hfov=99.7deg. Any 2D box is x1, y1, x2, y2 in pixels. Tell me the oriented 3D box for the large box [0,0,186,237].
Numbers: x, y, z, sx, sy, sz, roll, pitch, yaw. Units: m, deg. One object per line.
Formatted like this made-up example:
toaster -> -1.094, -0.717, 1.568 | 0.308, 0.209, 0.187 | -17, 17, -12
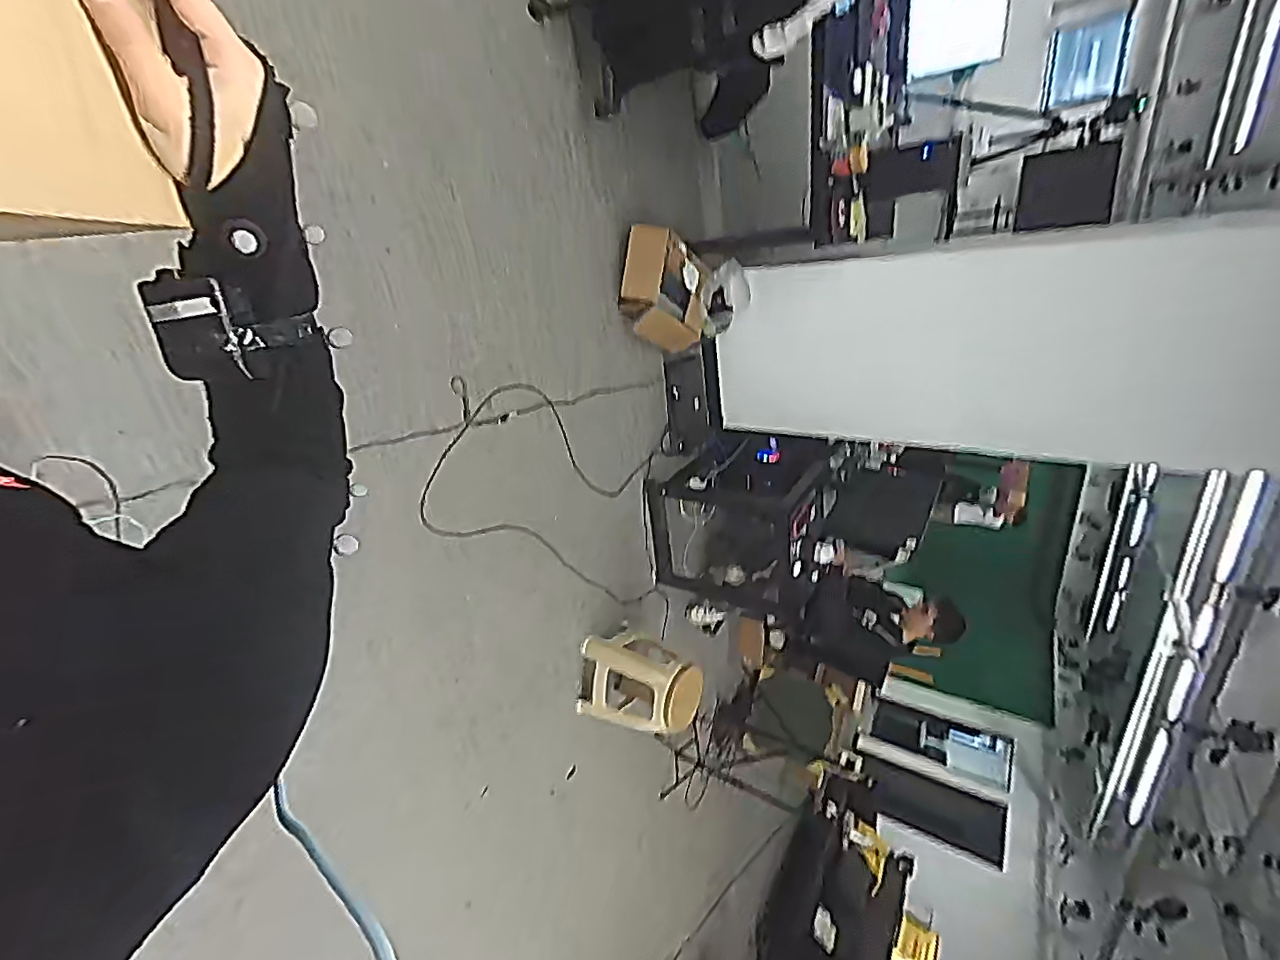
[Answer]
large box -> -0.491, -0.257, 0.170 | 0.408, 0.320, 0.320 | -32, 128, -55
